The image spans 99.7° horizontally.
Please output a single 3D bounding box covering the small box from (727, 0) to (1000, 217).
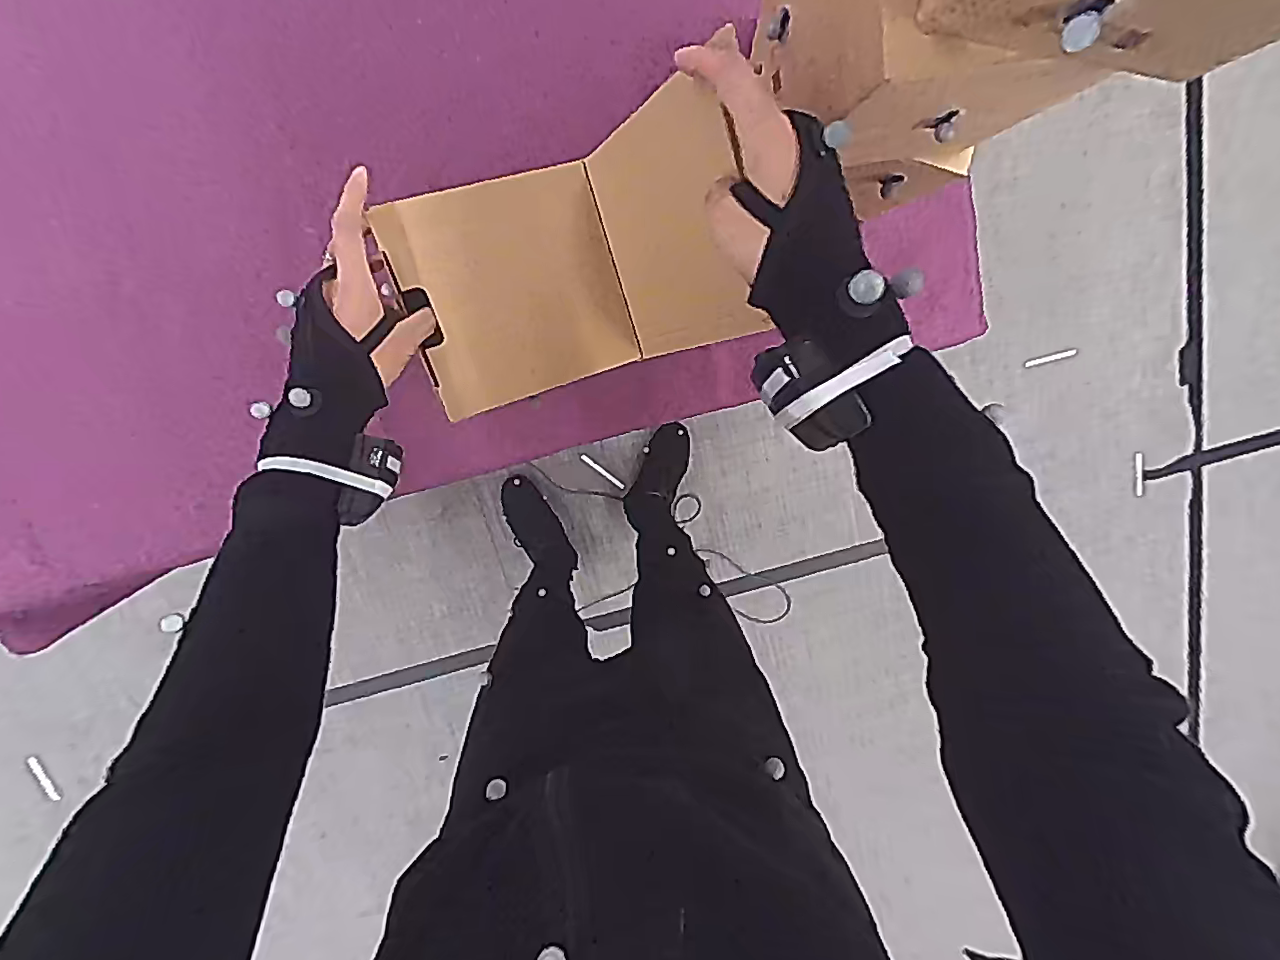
[{"bbox_3d":[0.202,-0.368,0.515,0.179,0.176,0.168,10,101,-9],"label":"small box"}]
